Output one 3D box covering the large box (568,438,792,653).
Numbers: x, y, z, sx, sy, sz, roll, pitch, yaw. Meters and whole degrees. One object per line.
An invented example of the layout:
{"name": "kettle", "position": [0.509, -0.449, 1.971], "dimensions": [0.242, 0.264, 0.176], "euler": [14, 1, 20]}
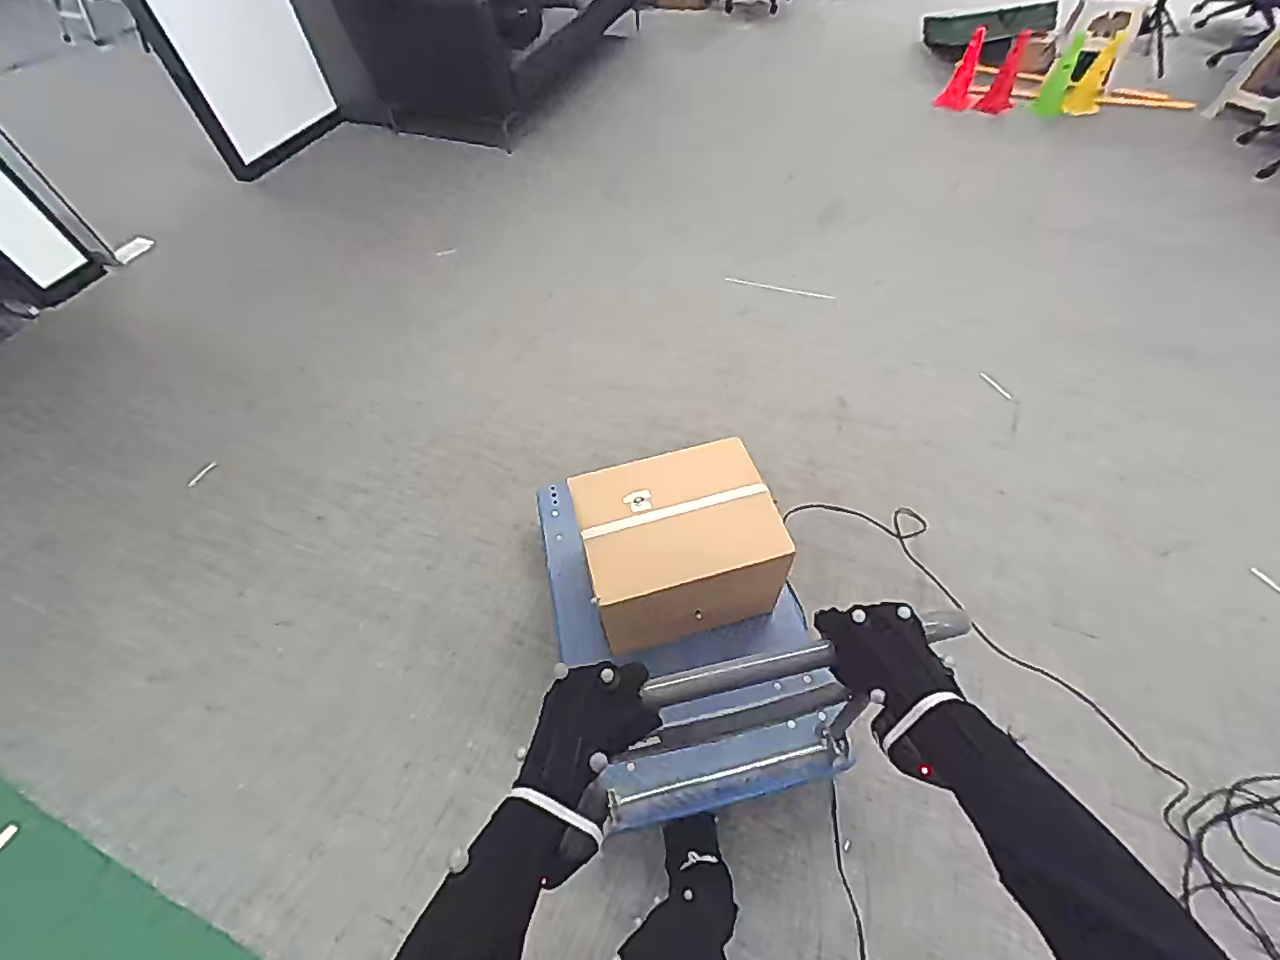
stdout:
{"name": "large box", "position": [0.080, 0.156, 1.249], "dimensions": [0.408, 0.320, 0.320], "euler": [-15, 55, -7]}
